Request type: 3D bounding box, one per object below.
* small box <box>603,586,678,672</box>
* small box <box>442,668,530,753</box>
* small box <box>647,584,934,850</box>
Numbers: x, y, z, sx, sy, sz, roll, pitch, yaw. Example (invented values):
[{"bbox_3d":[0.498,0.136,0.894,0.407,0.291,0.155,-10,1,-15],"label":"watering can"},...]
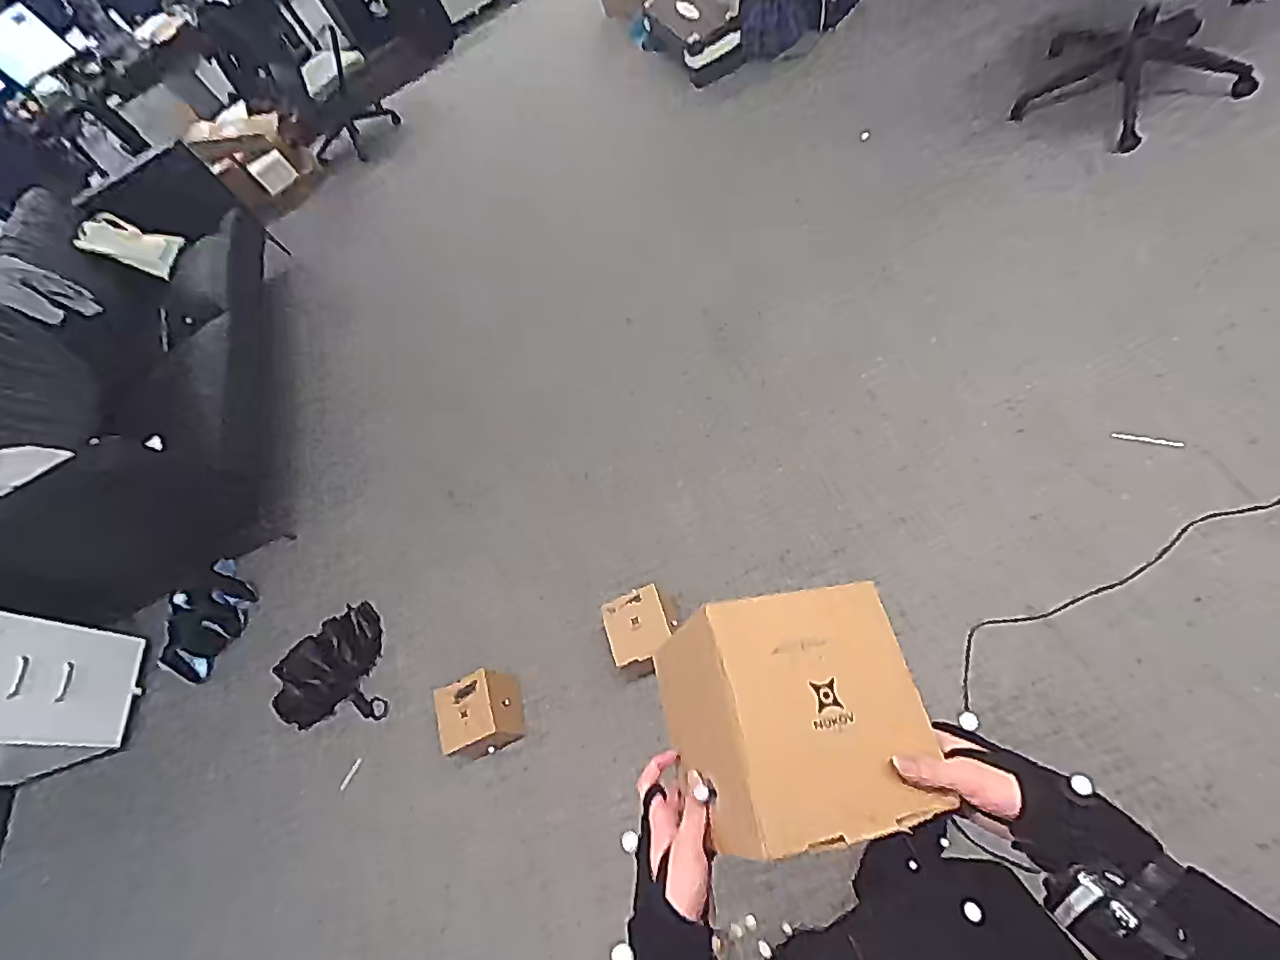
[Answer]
[{"bbox_3d":[0.021,0.420,1.500,0.168,0.176,0.179,-25,58,8],"label":"small box"},{"bbox_3d":[-0.439,0.664,1.549,0.168,0.176,0.179,-27,58,6],"label":"small box"},{"bbox_3d":[0.115,0.214,0.497,0.168,0.176,0.179,-3,60,-18],"label":"small box"}]
